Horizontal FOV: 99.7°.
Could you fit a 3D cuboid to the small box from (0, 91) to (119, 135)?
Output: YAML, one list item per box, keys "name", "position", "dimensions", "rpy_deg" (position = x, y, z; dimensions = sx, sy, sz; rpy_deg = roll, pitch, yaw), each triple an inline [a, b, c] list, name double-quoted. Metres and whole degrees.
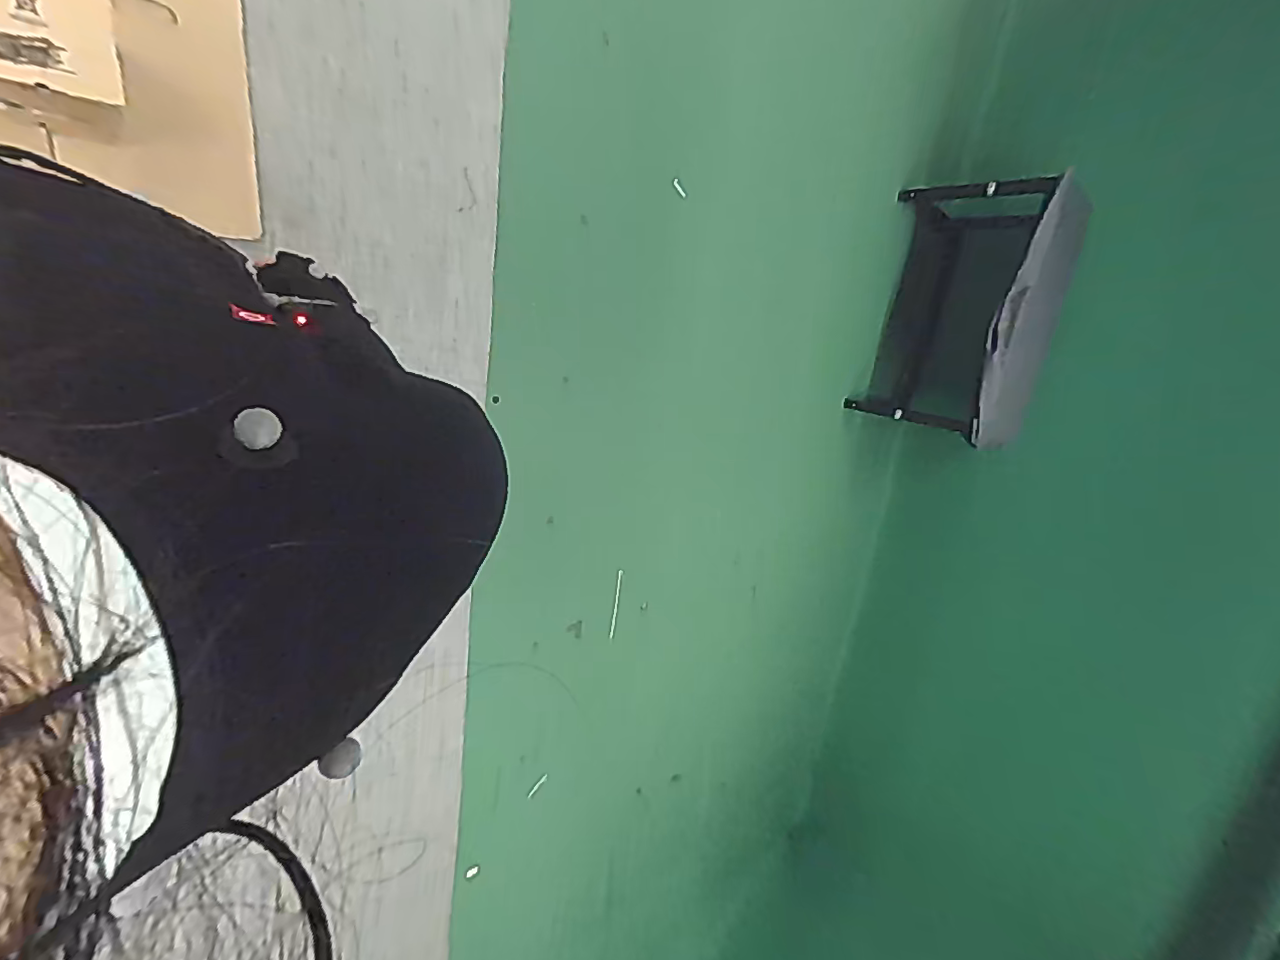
- name: "small box"
  position: [-0.952, -0.672, 0.850]
  dimensions: [0.168, 0.176, 0.179]
  rpy_deg: [-11, 115, -42]

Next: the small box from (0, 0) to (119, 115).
- name: "small box"
  position: [-0.839, -0.629, 0.739]
  dimensions: [0.168, 0.176, 0.179]
  rpy_deg: [-12, 114, -42]
